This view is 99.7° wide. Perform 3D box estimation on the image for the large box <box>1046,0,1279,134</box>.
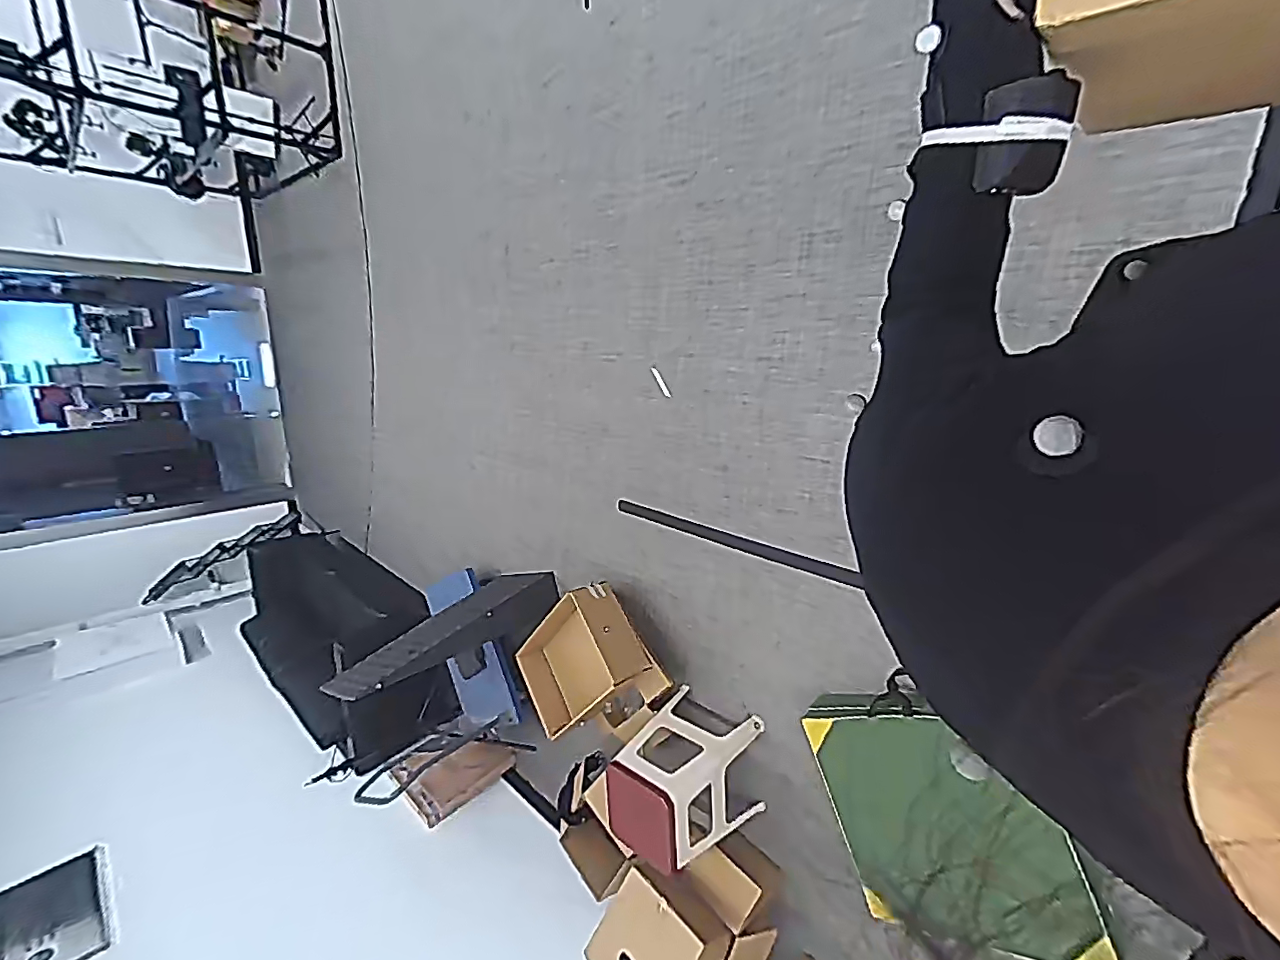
[{"bbox_3d":[0.497,-0.427,0.277,0.408,0.320,0.320,14,114,40],"label":"large box"}]
